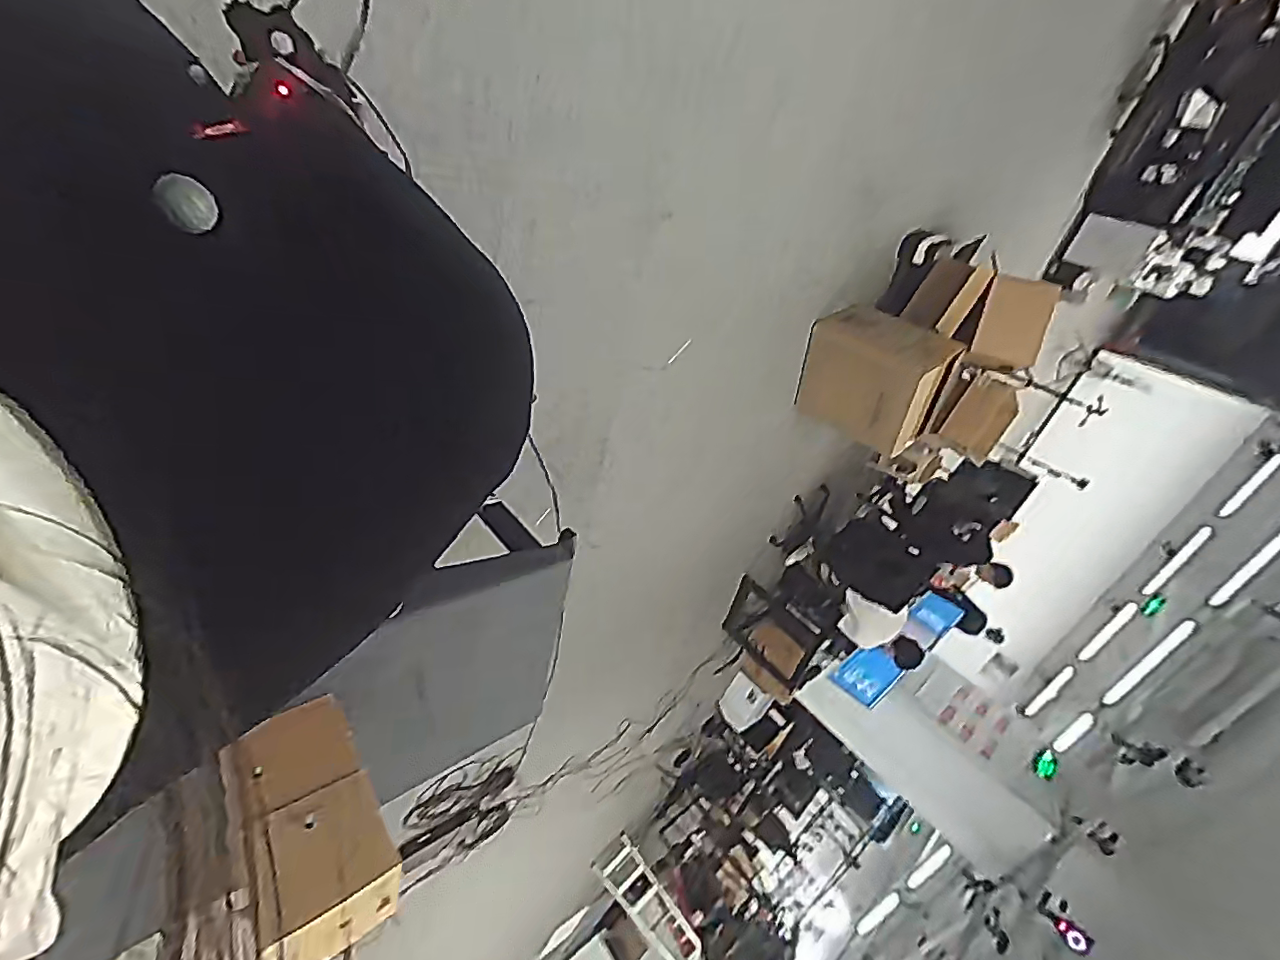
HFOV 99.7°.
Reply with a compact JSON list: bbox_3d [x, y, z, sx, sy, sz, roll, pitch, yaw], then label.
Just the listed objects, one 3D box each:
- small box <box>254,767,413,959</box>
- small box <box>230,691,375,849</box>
[{"bbox_3d":[-0.467,0.587,0.824,0.179,0.176,0.168,-14,133,-41],"label":"small box"},{"bbox_3d":[-0.571,0.502,0.919,0.179,0.176,0.168,-18,136,-41],"label":"small box"}]
